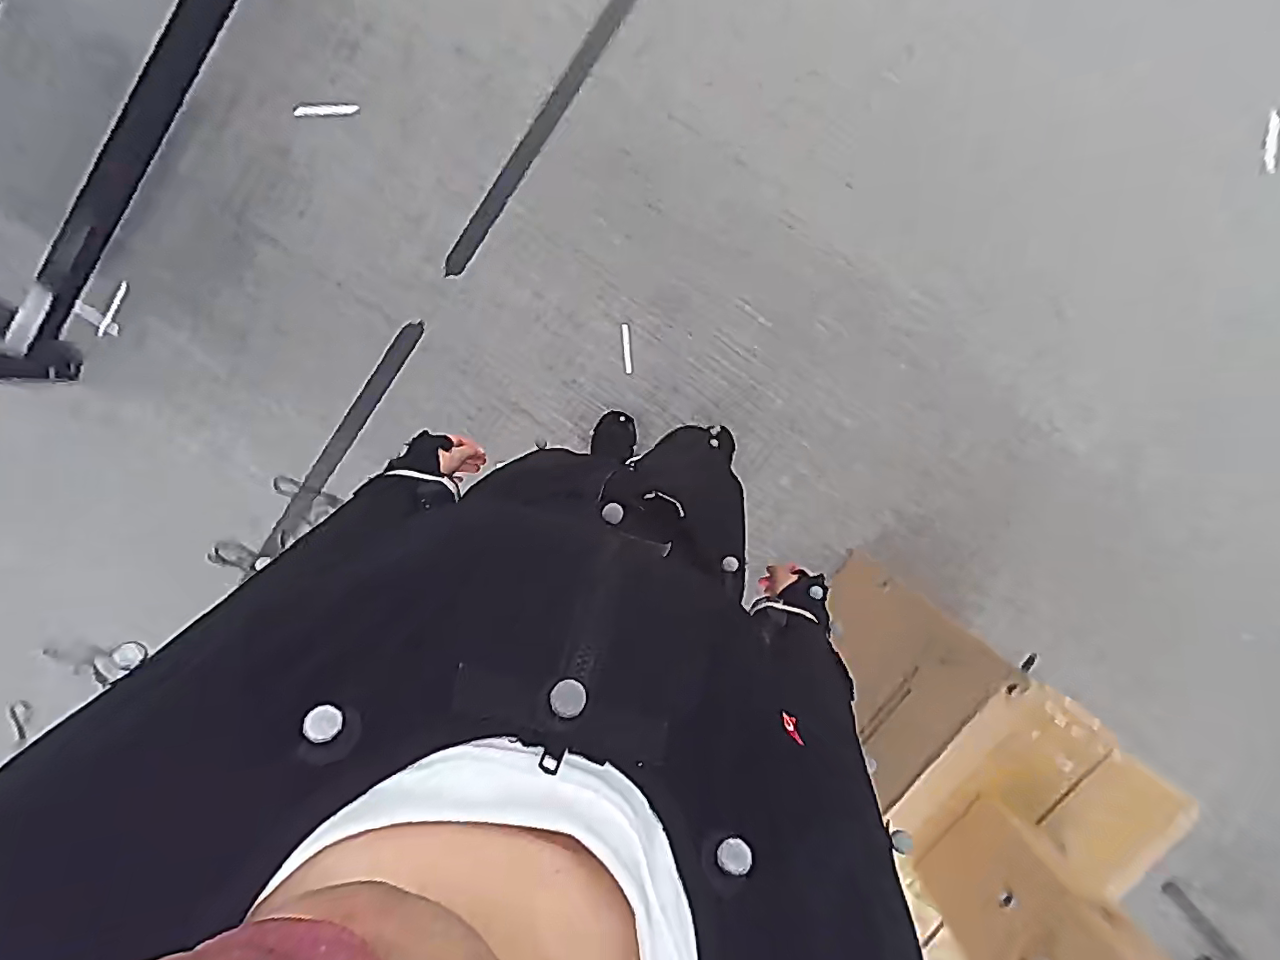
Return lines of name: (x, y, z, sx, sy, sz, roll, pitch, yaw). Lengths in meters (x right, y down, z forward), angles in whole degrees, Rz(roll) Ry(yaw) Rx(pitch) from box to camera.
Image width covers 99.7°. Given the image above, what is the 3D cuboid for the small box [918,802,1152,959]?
small box: (0.547, 0.617, 0.779, 0.168, 0.176, 0.179, 36, 98, -6)
